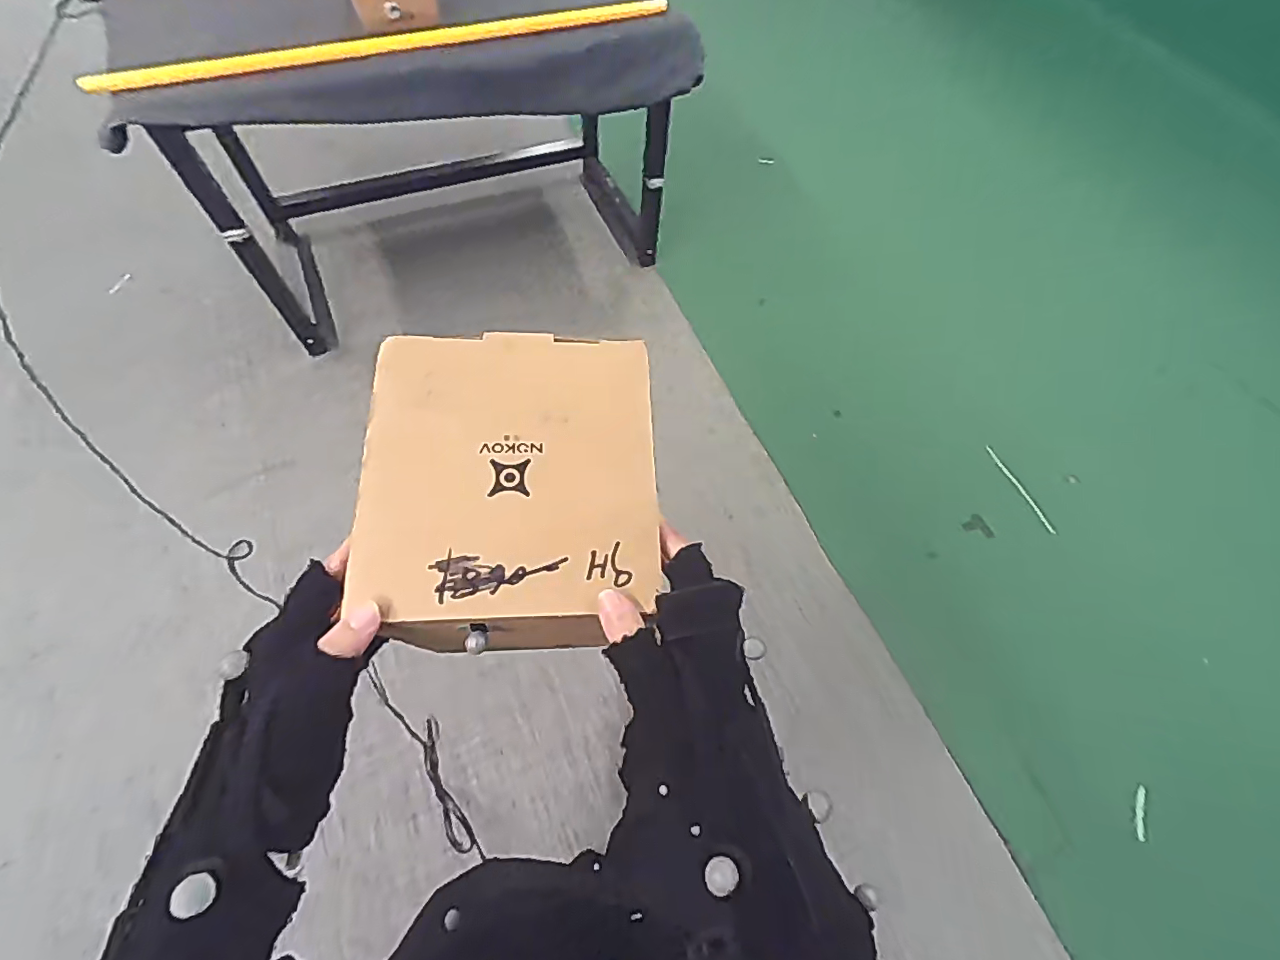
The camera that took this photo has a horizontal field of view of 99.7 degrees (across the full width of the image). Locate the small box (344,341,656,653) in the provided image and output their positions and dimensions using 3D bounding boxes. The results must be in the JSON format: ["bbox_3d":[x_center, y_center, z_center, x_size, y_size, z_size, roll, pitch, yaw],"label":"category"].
[{"bbox_3d":[-0.082,0.022,0.391,0.168,0.176,0.179,-1,67,-5],"label":"small box"}]

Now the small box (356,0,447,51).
[{"bbox_3d":[-0.542,-1.085,1.183,0.168,0.176,0.179,-21,67,-13],"label":"small box"}]
